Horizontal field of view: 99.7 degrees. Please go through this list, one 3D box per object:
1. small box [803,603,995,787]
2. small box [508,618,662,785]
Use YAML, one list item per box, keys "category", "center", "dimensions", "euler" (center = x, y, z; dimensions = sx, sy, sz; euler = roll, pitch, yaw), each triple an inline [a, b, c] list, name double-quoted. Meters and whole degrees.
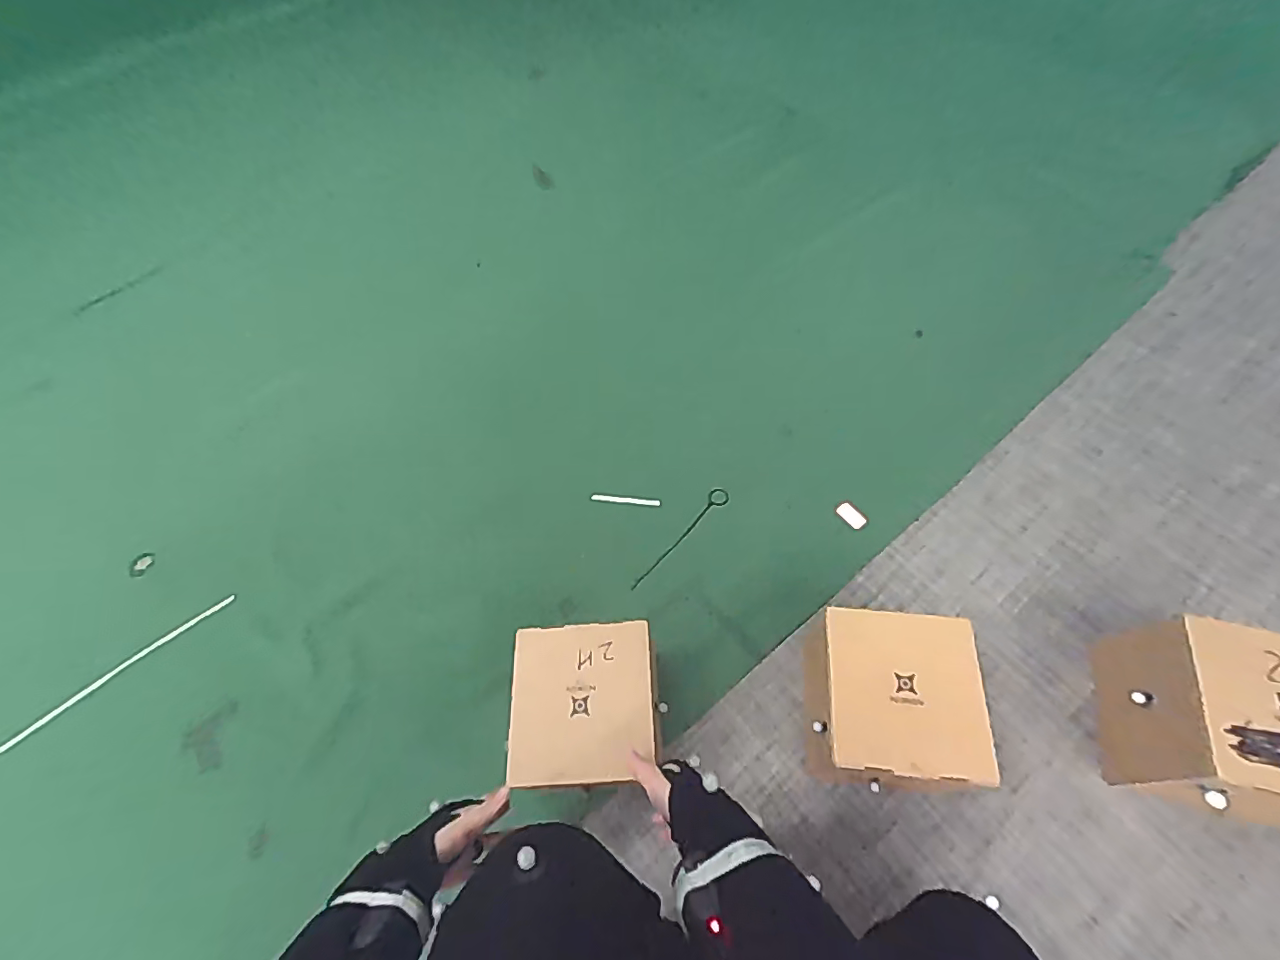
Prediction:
- category: "small box"
  center: [0.302, 0.271, 0.675]
  dimensions: [0.168, 0.176, 0.179]
  euler: [3, 59, 8]
- category: "small box"
  center: [-0.061, 0.291, 0.697]
  dimensions: [0.168, 0.176, 0.179]
  euler: [-4, 58, 2]
